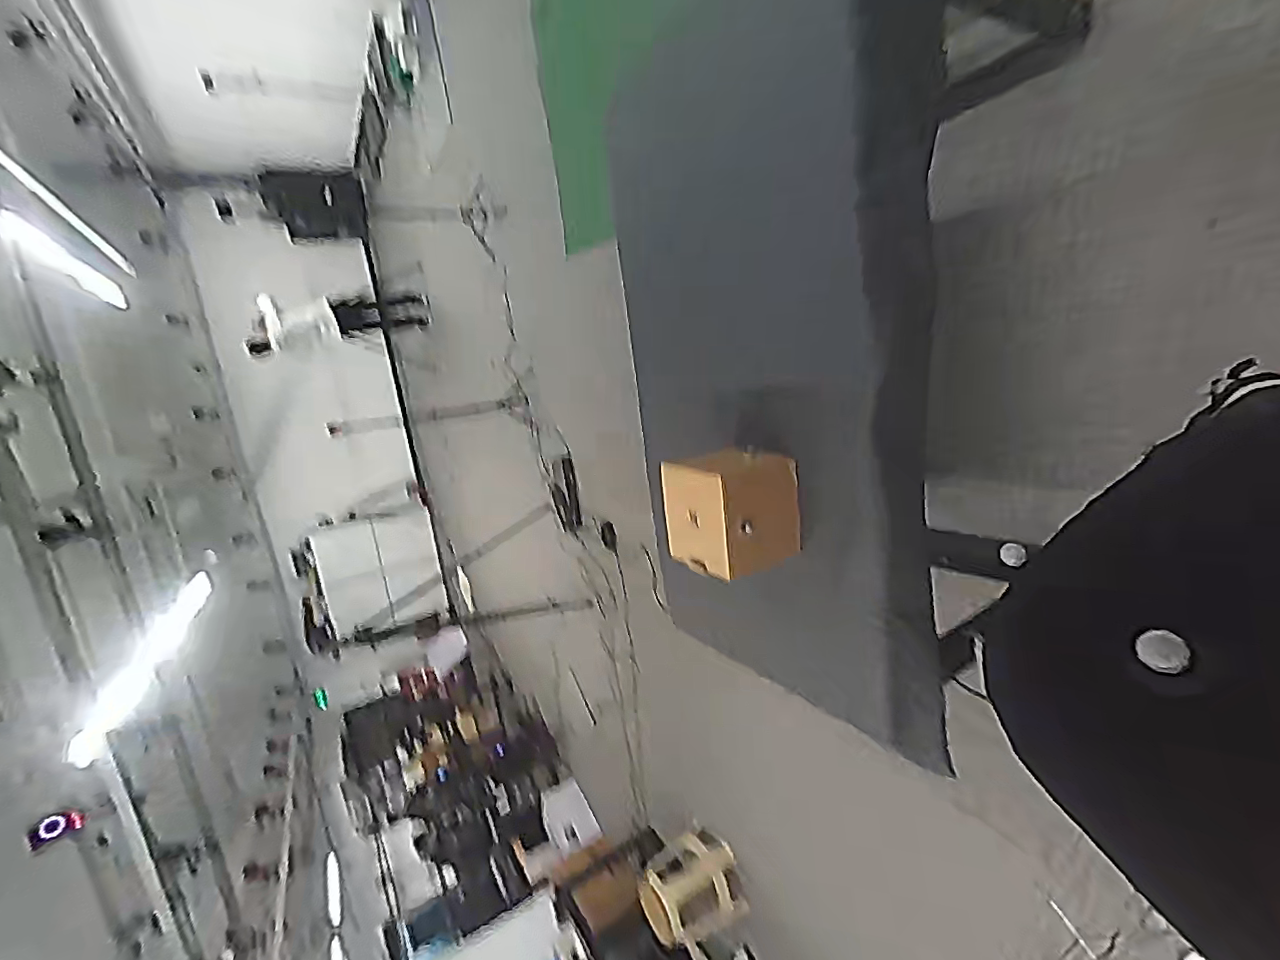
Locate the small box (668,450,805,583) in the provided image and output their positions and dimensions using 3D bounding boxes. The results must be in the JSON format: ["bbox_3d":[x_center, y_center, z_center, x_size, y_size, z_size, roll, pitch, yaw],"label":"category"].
[{"bbox_3d":[0.171,0.054,0.943,0.168,0.176,0.179,13,112,57],"label":"small box"}]
